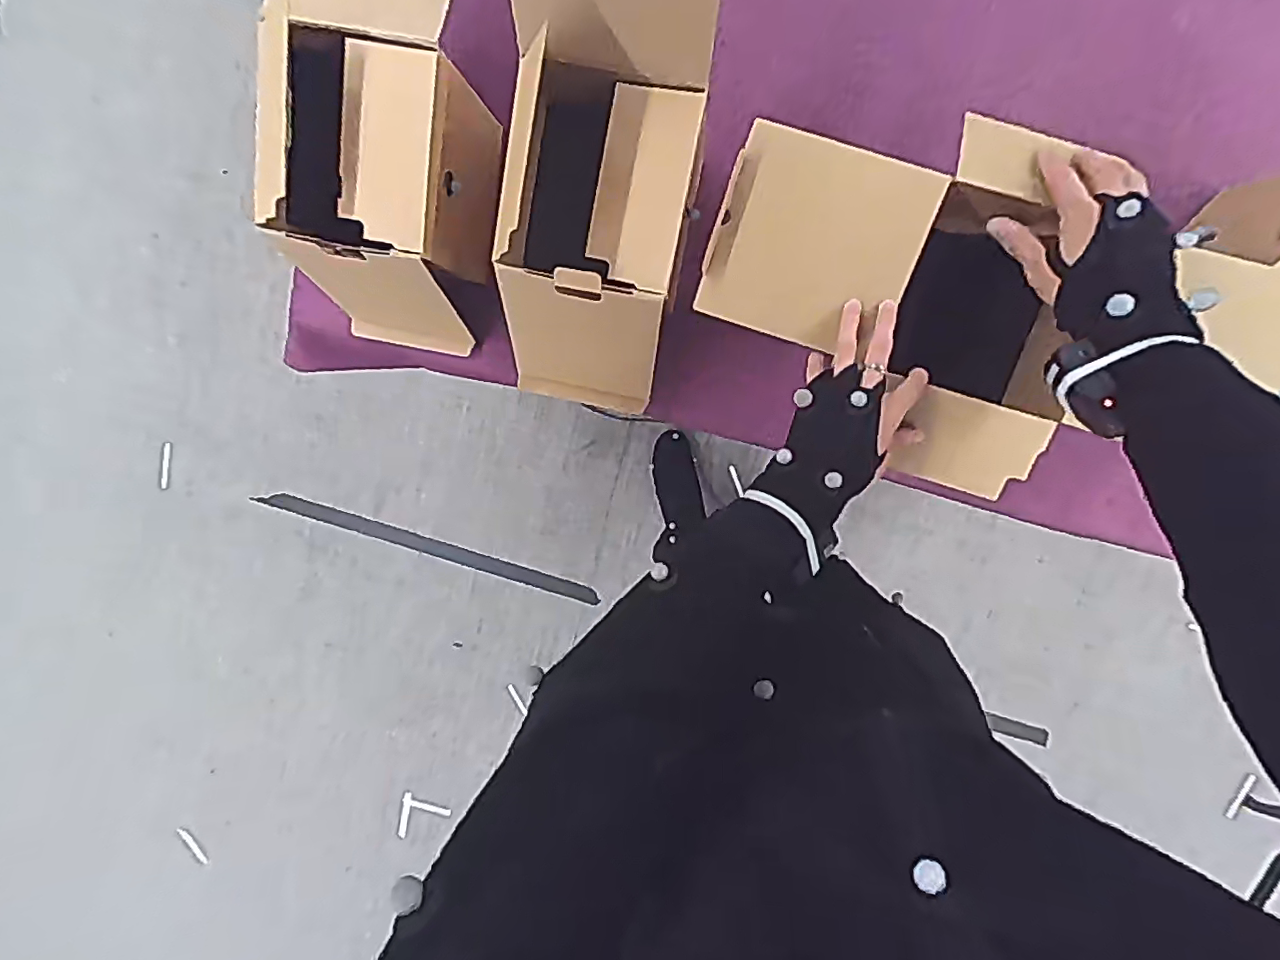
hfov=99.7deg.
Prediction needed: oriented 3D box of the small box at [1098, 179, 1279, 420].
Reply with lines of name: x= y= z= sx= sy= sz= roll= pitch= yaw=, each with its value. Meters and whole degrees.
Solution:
small box: x=0.611 y=-0.171 z=0.512 sx=0.179 sy=0.176 sz=0.168 roll=41 pitch=102 yaw=-3
